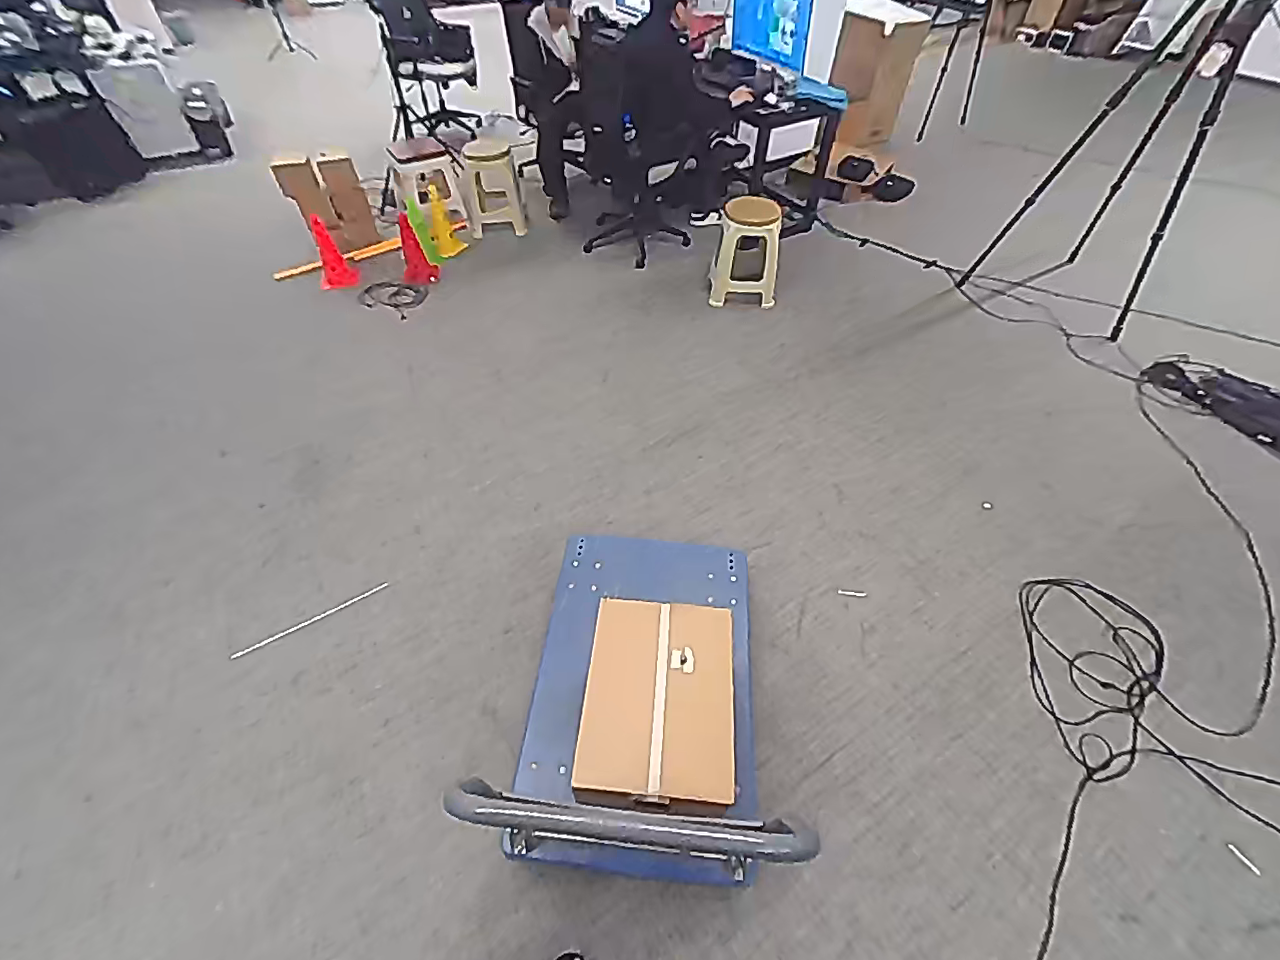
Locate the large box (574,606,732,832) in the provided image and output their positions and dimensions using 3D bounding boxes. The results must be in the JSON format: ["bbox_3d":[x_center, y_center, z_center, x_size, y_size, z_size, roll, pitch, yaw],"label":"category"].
[{"bbox_3d":[0.036,0.562,1.274,0.320,0.320,0.408,5,48,2],"label":"large box"}]
